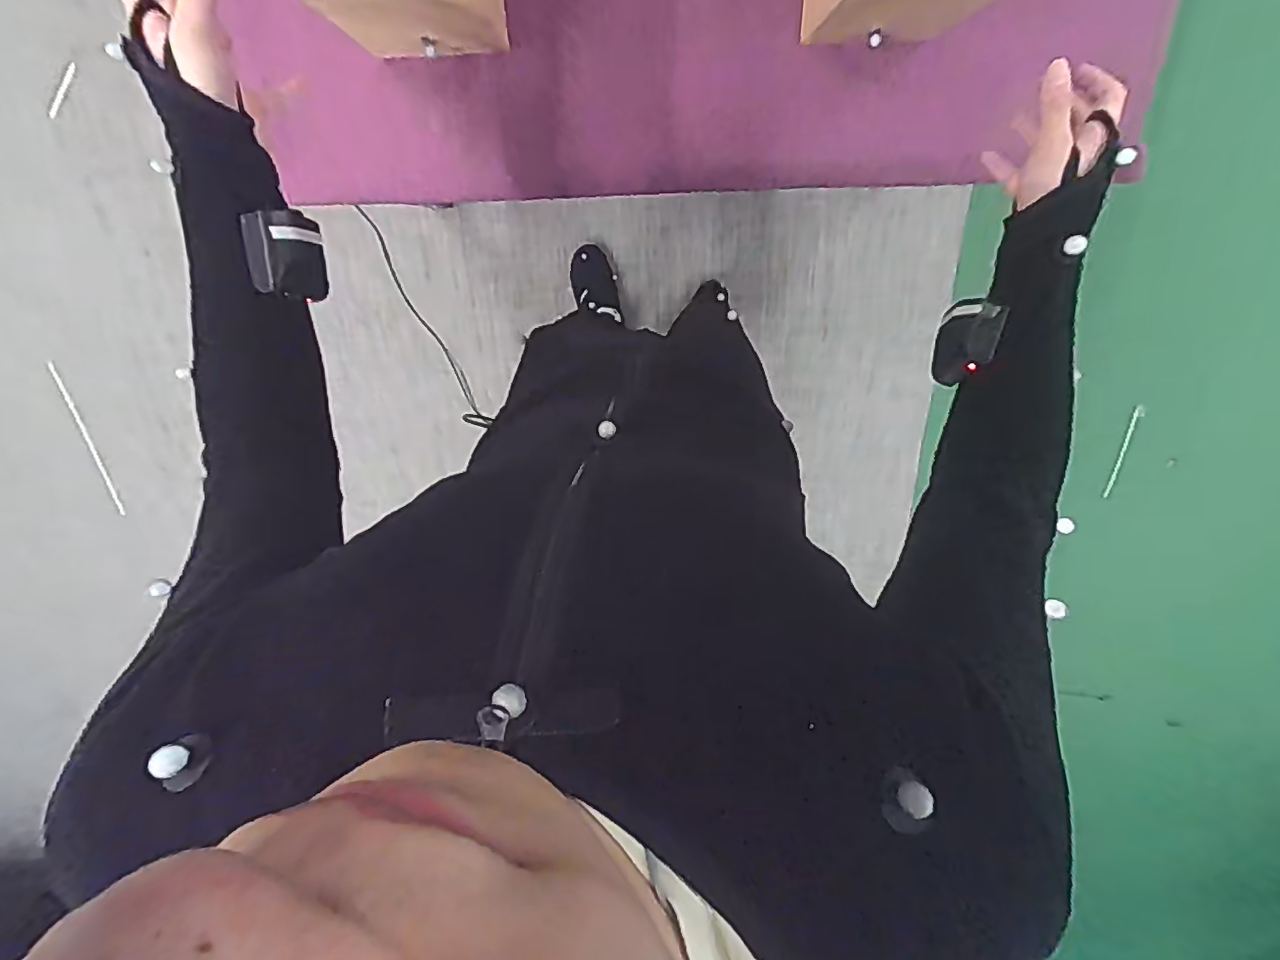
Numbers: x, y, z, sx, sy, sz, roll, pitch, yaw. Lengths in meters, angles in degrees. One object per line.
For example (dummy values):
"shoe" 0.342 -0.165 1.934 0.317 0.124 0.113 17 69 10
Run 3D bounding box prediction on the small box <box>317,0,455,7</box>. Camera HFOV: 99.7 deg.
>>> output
"small box" -0.242 -0.512 0.417 0.168 0.176 0.179 -4 114 -1

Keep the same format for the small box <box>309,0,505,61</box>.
"small box" -0.248 -0.575 0.567 0.168 0.176 0.179 -3 114 0
